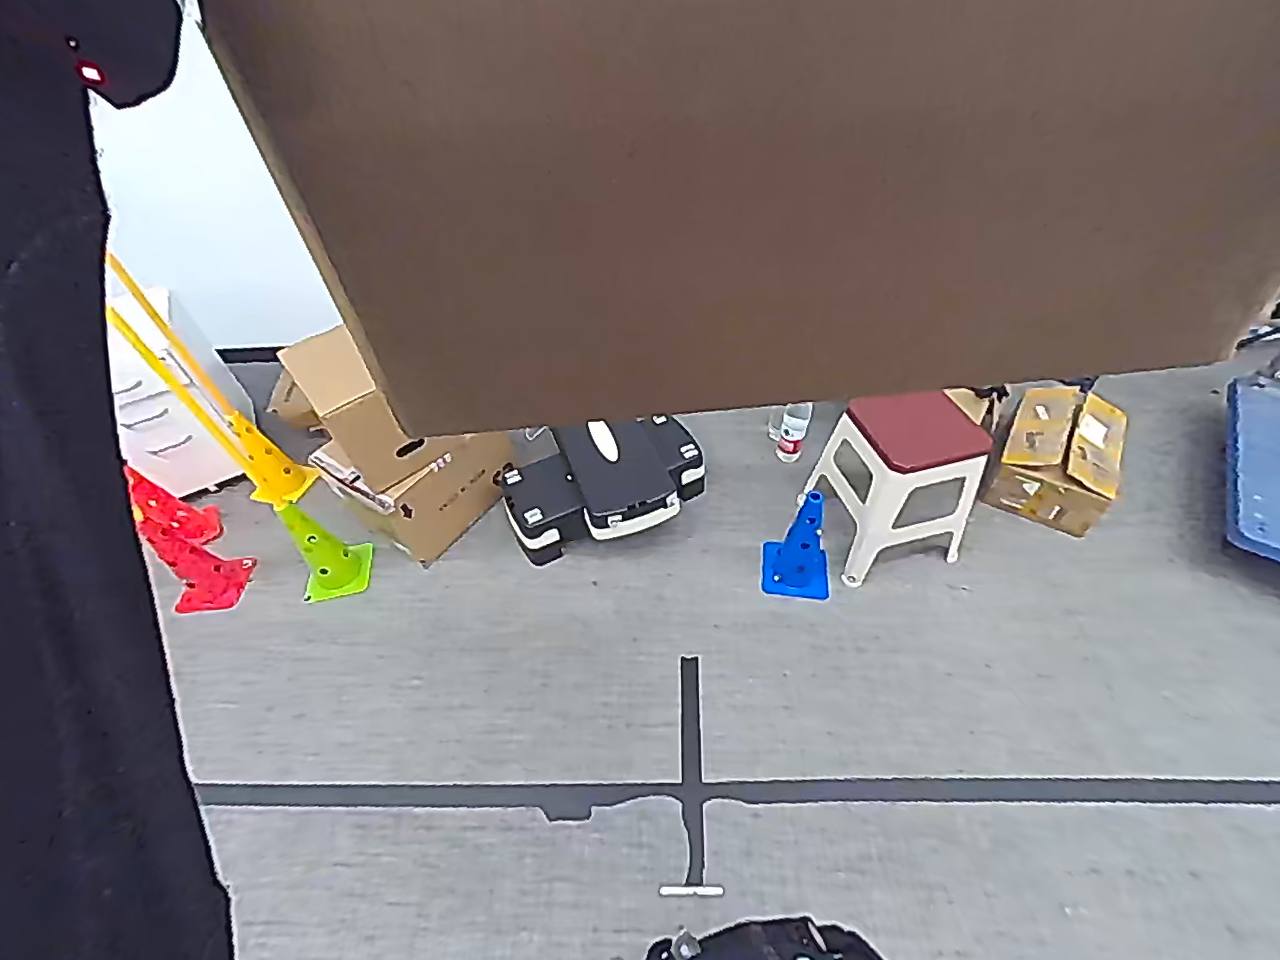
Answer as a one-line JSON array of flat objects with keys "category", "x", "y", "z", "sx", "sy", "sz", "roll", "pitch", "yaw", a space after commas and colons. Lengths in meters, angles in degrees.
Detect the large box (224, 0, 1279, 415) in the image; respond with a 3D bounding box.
[{"category": "large box", "x": 0.059, "y": -0.257, "z": 0.278, "sx": 0.408, "sy": 0.320, "sz": 0.320, "roll": -5, "pitch": 43, "yaw": 0}]
